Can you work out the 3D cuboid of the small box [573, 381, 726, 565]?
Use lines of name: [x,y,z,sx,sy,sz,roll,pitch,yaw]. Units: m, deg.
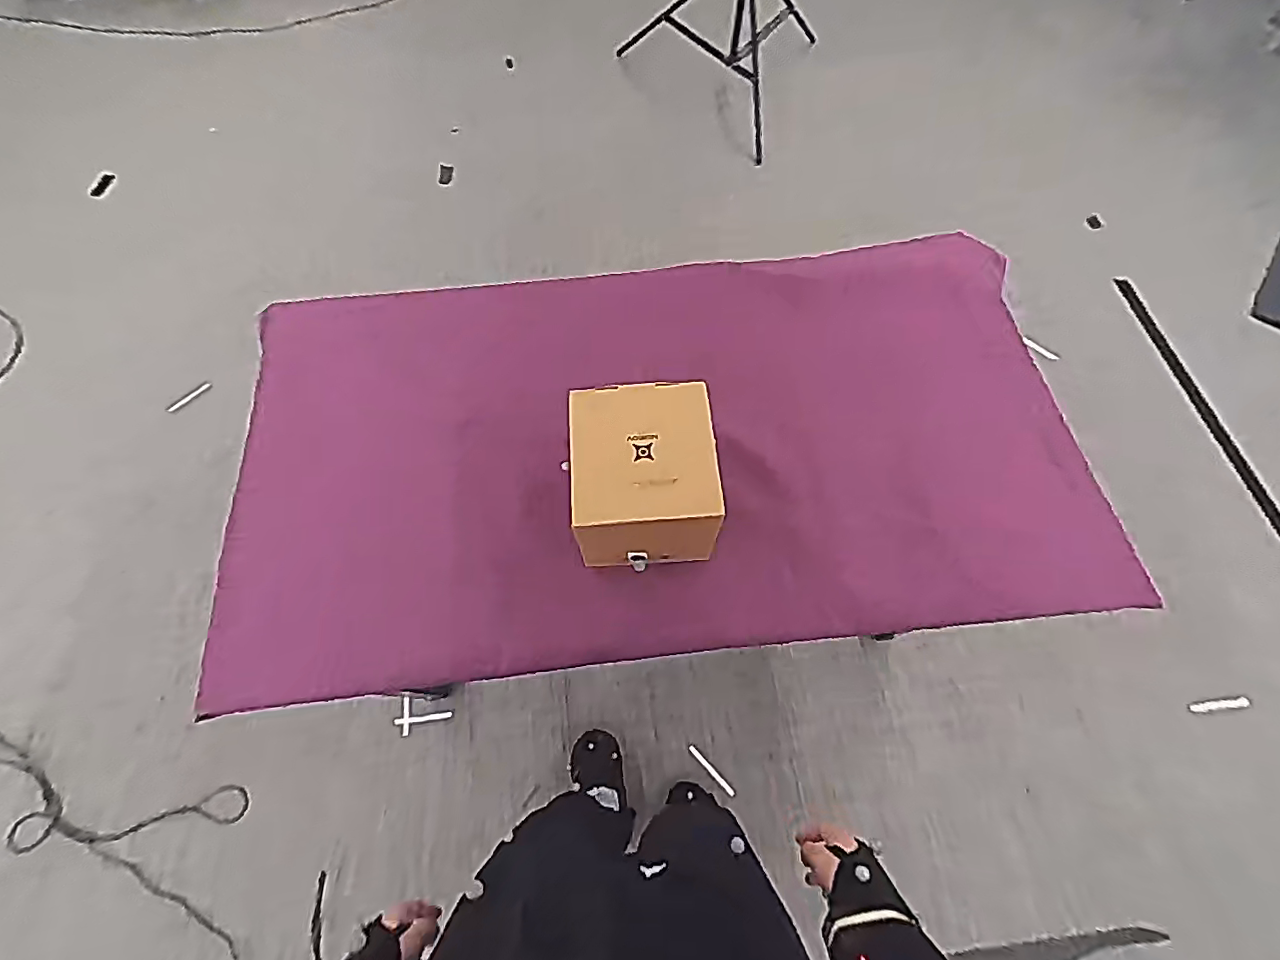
small box: [0.005,-0.003,0.685,0.168,0.176,0.179,-5,66,-2]
